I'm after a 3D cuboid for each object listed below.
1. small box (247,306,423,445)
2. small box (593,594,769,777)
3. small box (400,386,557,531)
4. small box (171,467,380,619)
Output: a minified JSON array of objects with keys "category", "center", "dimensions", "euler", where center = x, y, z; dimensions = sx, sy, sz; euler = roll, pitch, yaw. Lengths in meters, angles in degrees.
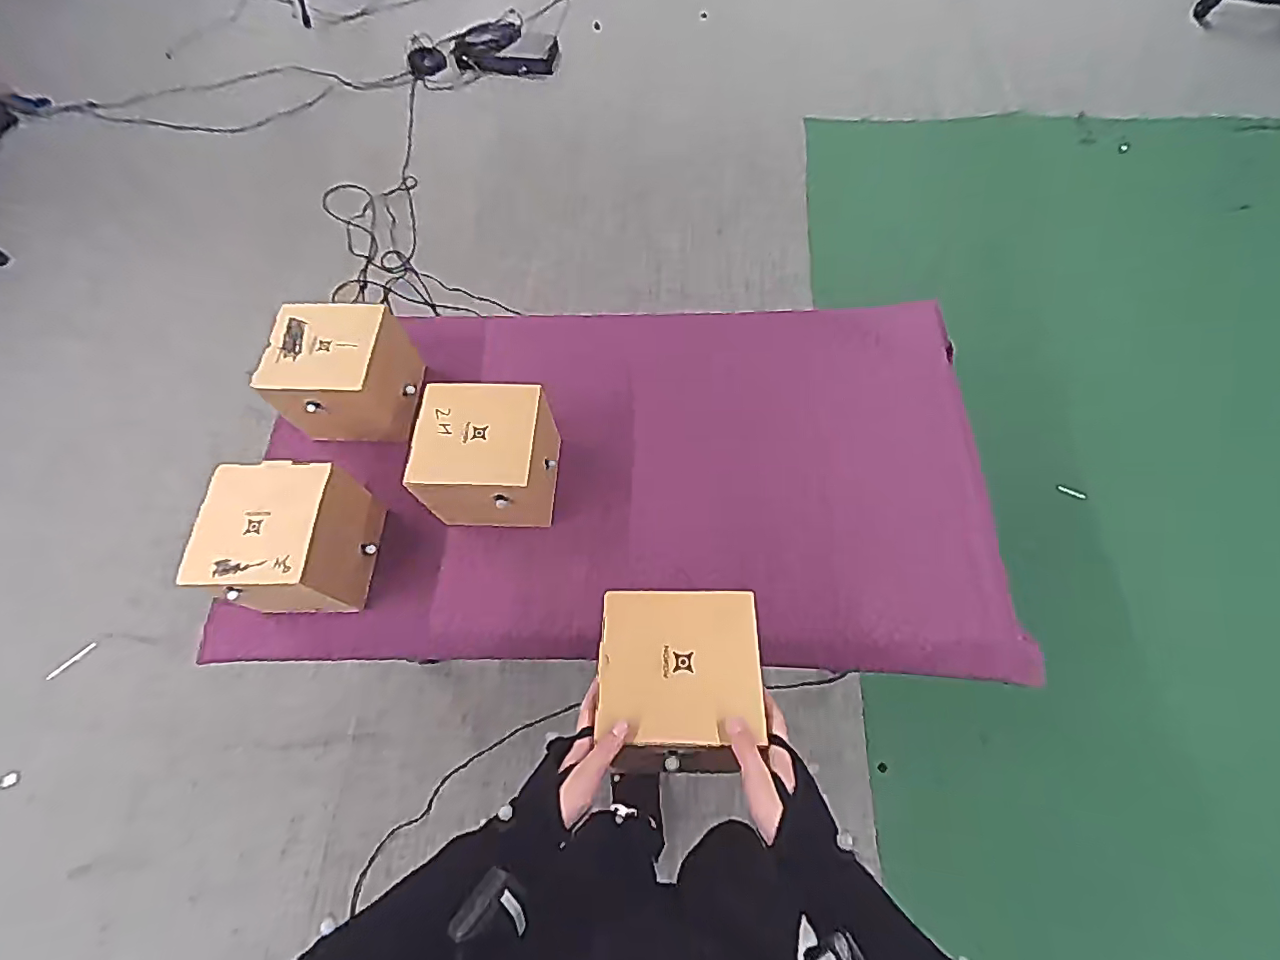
[{"category":"small box","center":[-0.494,-0.169,0.905],"dimensions":[0.179,0.176,0.168],"euler":[1,66,2]},{"category":"small box","center":[0.048,0.246,0.640],"dimensions":[0.179,0.176,0.168],"euler":[-2,53,5]},{"category":"small box","center":[-0.231,-0.027,0.829],"dimensions":[0.179,0.176,0.168],"euler":[2,65,3]},{"category":"small box","center":[-0.506,0.095,0.785],"dimensions":[0.168,0.176,0.179],"euler":[-1,64,2]}]
